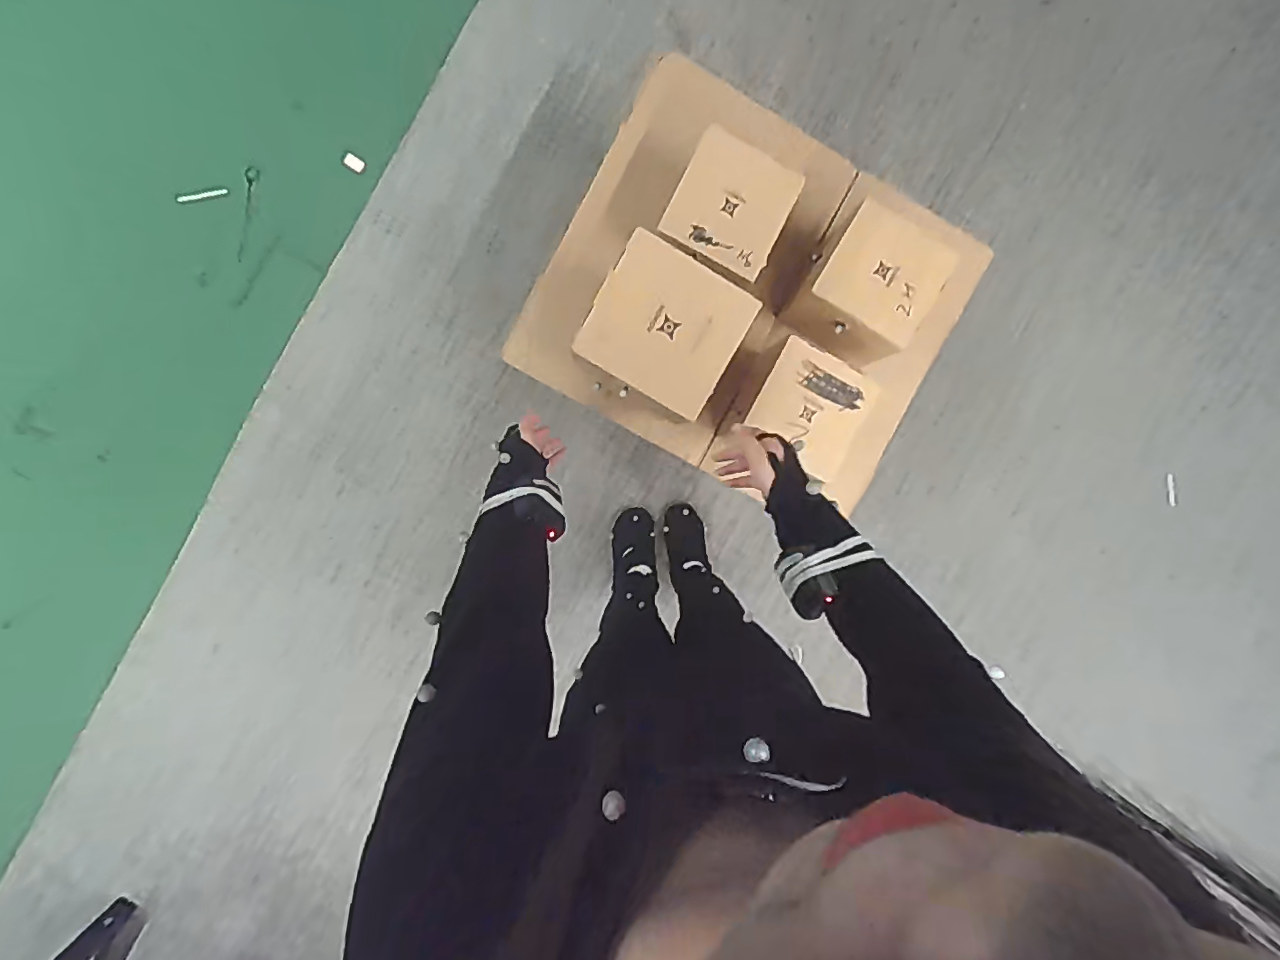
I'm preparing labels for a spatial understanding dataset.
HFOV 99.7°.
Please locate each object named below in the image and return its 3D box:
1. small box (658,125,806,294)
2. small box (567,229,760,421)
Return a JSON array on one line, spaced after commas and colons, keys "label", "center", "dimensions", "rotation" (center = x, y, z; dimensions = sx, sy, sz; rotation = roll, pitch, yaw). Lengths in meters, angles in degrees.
[{"label": "small box", "center": [0.131, -0.406, 0.868], "dimensions": [0.168, 0.176, 0.179], "rotation": [27, 91, -3]}, {"label": "small box", "center": [0.024, -0.186, 0.714], "dimensions": [0.179, 0.176, 0.168], "rotation": [31, 93, -5]}]
